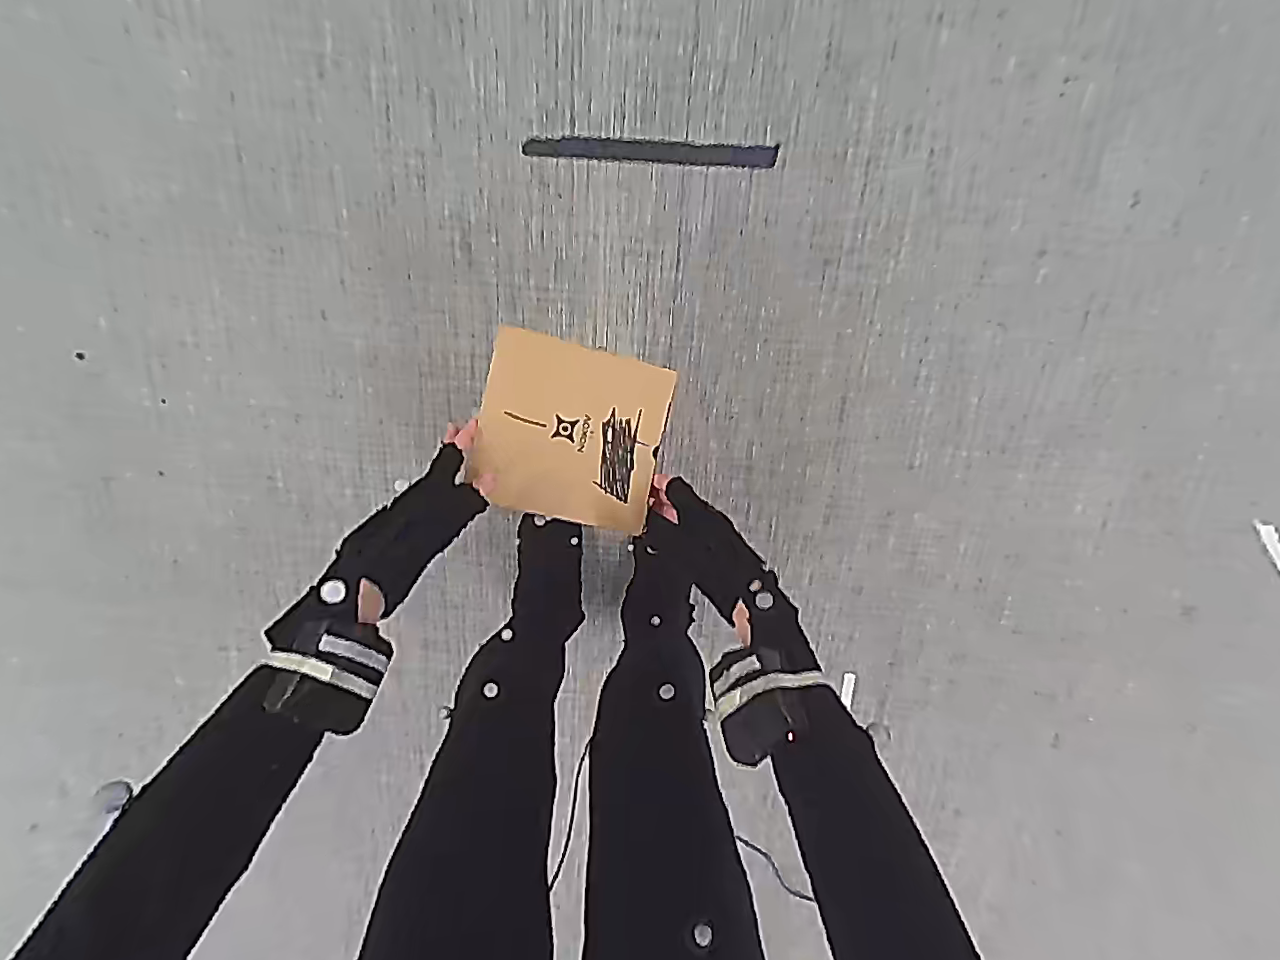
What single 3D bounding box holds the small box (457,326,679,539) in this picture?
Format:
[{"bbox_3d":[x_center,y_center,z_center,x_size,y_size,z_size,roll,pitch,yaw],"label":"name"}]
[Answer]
[{"bbox_3d":[-0.078,-0.042,0.574,0.179,0.176,0.168,13,87,-11],"label":"small box"}]
